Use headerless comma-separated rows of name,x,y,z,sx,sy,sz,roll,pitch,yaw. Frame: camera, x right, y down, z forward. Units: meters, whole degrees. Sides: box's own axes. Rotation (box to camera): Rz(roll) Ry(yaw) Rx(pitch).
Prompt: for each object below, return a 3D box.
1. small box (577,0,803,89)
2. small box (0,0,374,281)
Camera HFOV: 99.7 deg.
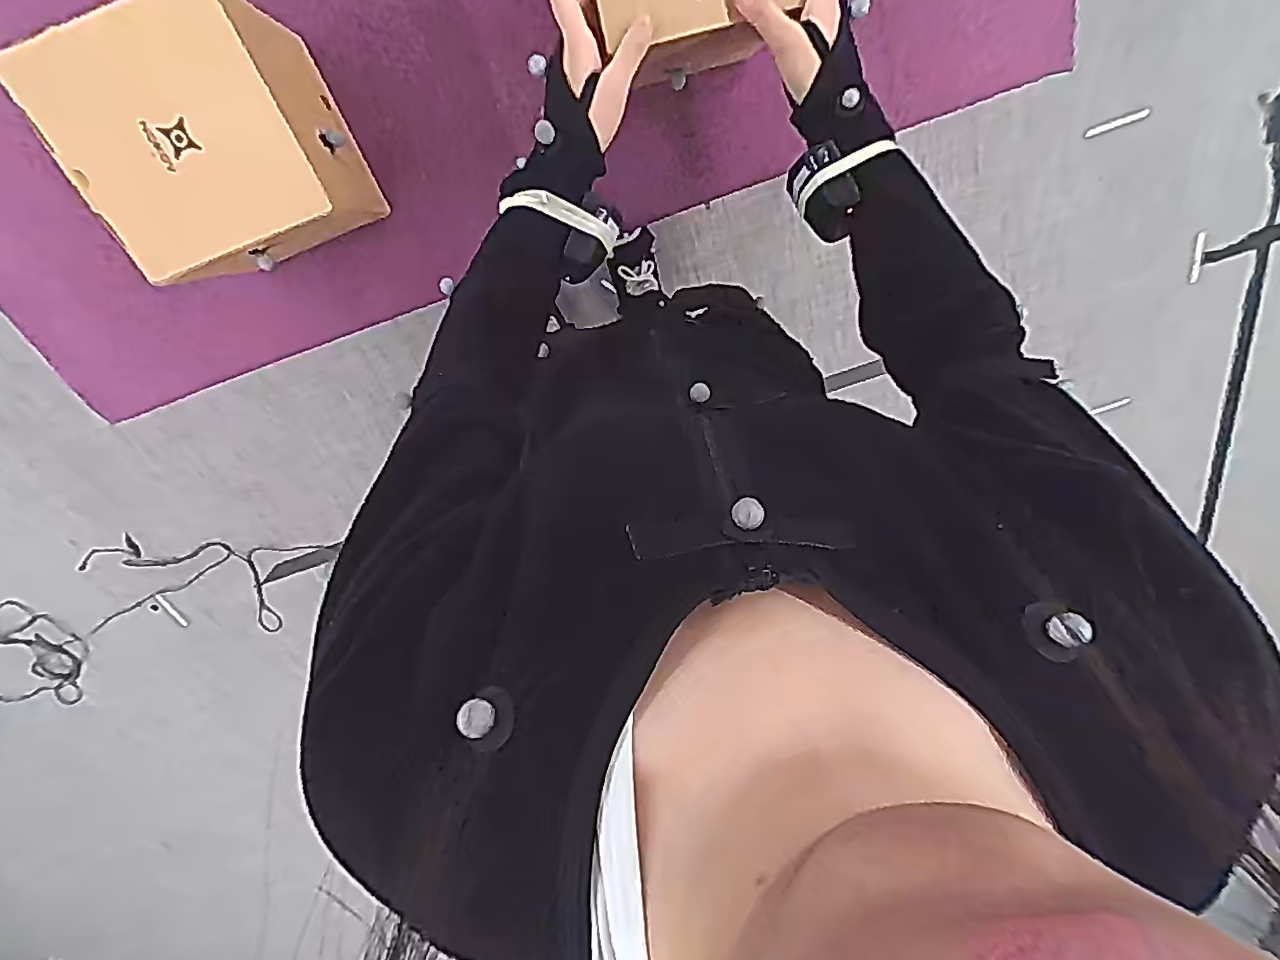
small box,0.024,-0.466,0.458,0.168,0.176,0.179,-14,118,0
small box,-0.371,-0.301,0.491,0.179,0.176,0.168,-20,117,4
